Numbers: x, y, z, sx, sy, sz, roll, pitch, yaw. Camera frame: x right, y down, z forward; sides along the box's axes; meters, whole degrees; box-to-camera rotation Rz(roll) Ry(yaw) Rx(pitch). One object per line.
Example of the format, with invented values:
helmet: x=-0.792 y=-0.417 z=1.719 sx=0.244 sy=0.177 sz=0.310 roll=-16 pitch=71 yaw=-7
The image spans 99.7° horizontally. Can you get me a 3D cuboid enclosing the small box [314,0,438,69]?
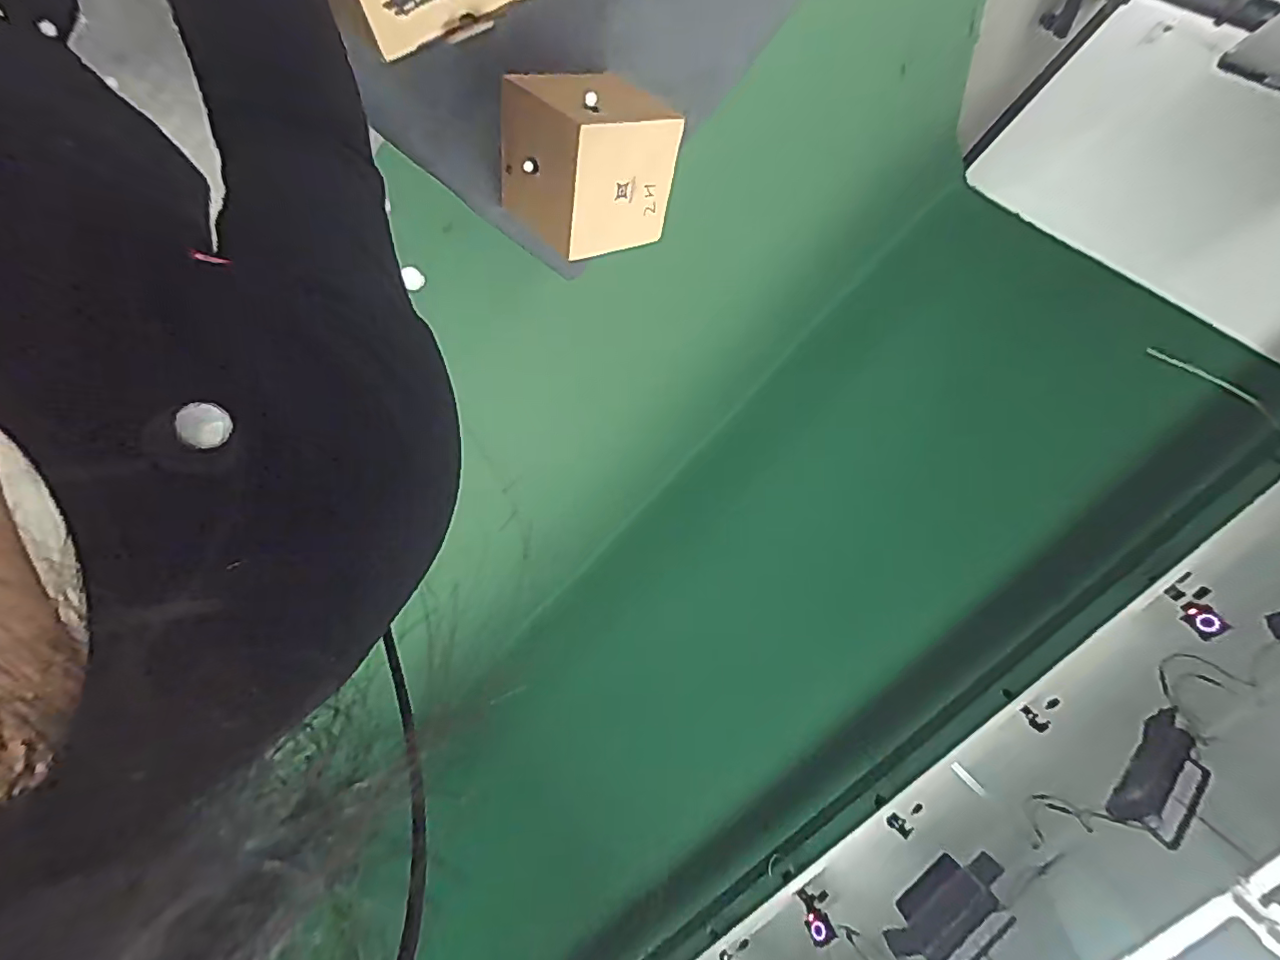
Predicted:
small box: x=-0.528 y=-0.935 z=1.009 sx=0.168 sy=0.176 sz=0.179 roll=-45 pitch=160 yaw=5

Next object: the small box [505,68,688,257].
small box: x=-0.068 y=-0.434 z=0.737 sx=0.179 sy=0.176 sz=0.168 roll=-29 pitch=152 yaw=-33
